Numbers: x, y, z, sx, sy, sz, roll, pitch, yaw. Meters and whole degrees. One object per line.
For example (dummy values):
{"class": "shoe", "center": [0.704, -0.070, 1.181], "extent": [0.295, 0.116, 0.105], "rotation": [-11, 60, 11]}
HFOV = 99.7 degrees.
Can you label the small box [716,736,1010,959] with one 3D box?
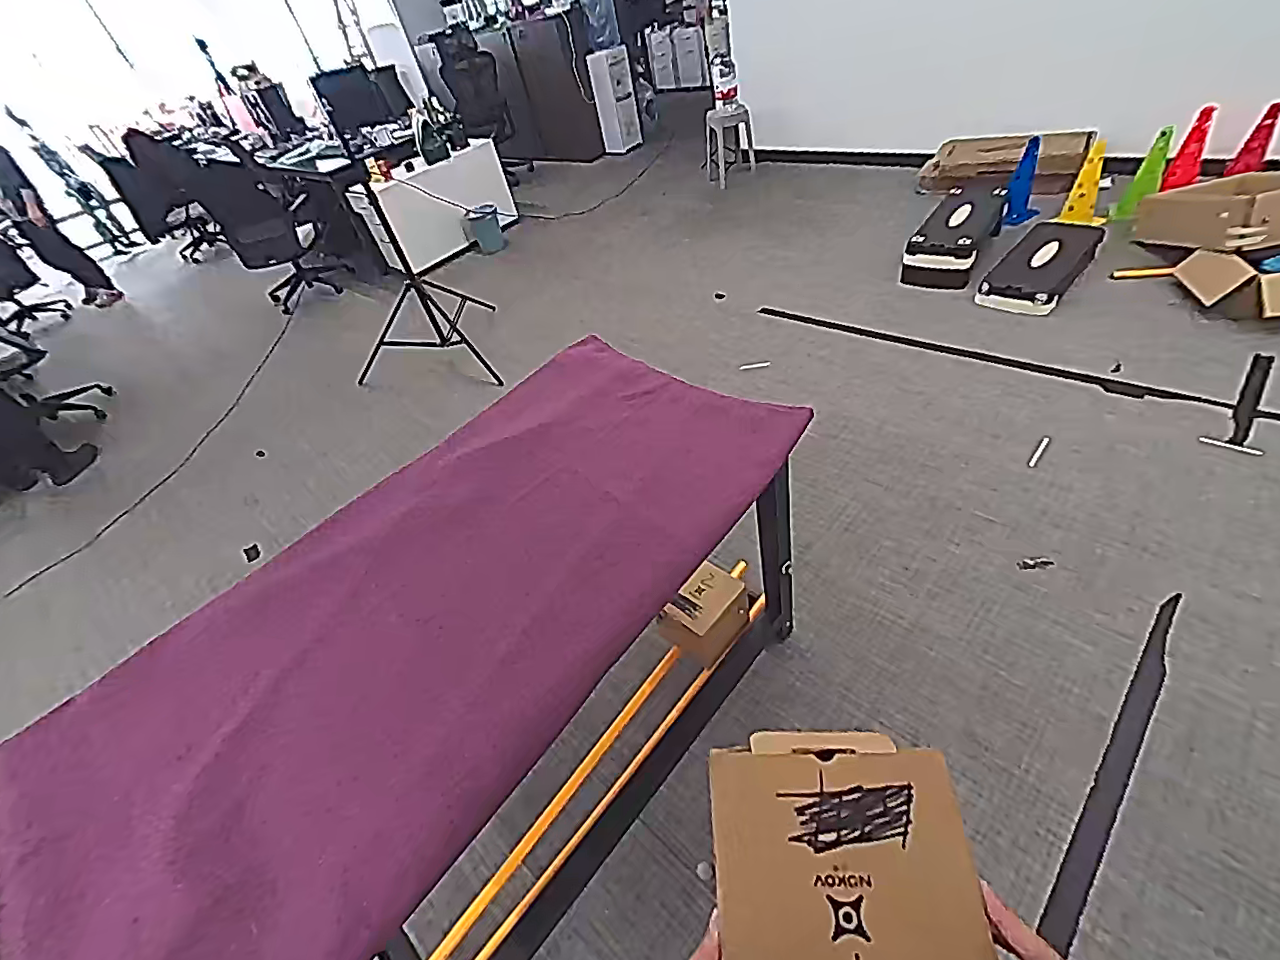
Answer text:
{"class": "small box", "center": [0.145, 0.304, 0.408], "extent": [0.168, 0.176, 0.179], "rotation": [-3, 56, 6]}
